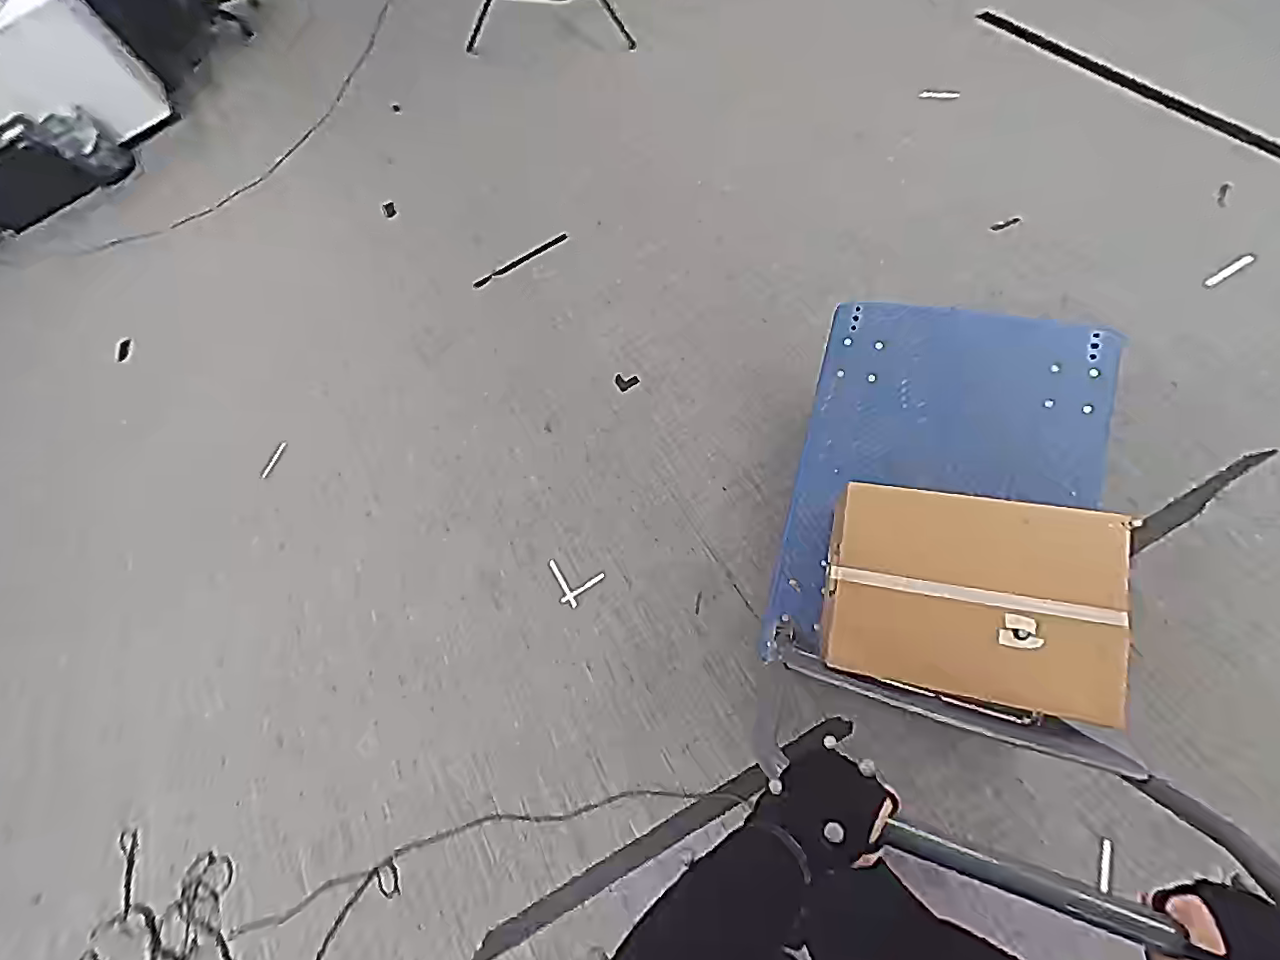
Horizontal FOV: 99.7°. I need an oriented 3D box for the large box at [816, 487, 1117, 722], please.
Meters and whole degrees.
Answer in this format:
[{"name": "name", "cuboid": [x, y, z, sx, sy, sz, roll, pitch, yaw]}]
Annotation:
[{"name": "large box", "cuboid": [0.557, 0.213, 1.005, 0.408, 0.320, 0.320, 8, 82, 16]}]
